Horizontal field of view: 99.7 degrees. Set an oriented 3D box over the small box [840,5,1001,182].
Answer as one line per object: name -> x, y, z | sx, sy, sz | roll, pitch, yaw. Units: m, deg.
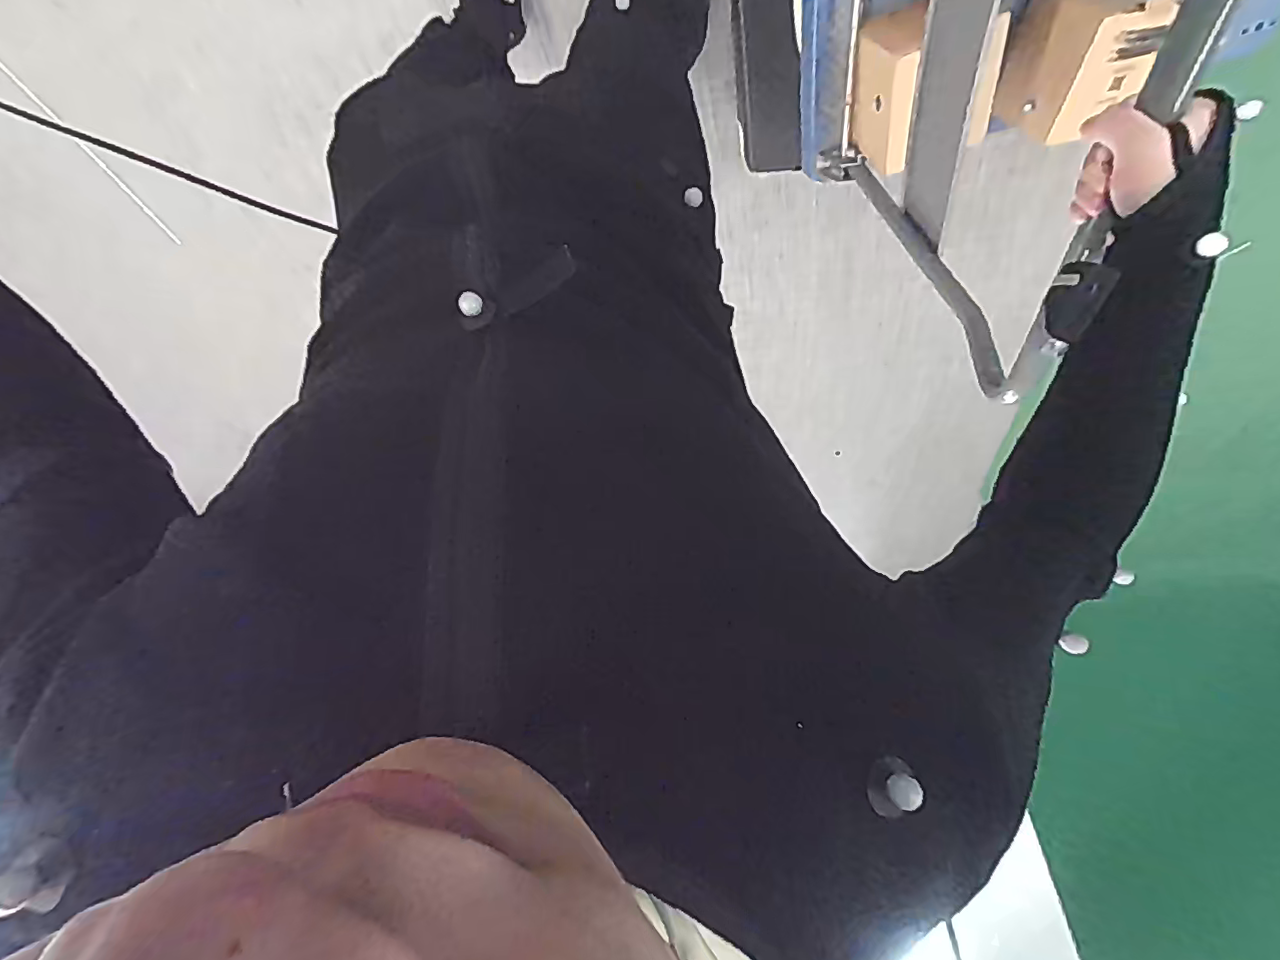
small box -> 0.441, -0.636, 0.885 | 0.168, 0.176, 0.179 | -17, 143, 7
